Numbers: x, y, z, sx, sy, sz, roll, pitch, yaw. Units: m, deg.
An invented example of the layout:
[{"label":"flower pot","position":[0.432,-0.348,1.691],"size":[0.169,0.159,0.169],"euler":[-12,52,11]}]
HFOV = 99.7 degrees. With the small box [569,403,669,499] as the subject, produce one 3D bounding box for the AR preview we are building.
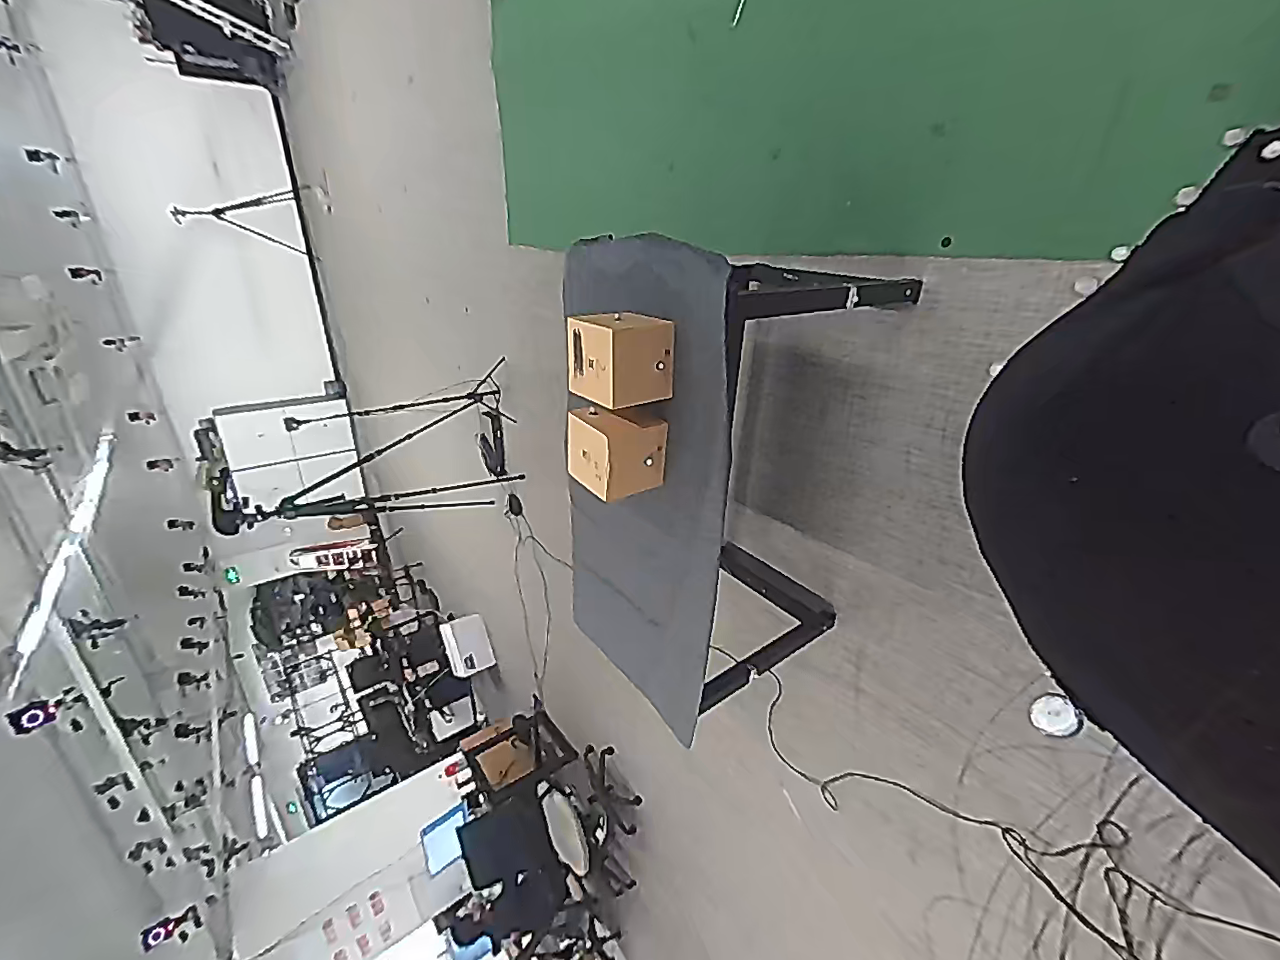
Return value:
[{"label":"small box","position":[-0.055,-0.078,1.296],"size":[0.179,0.176,0.168],"euler":[34,130,43]}]
